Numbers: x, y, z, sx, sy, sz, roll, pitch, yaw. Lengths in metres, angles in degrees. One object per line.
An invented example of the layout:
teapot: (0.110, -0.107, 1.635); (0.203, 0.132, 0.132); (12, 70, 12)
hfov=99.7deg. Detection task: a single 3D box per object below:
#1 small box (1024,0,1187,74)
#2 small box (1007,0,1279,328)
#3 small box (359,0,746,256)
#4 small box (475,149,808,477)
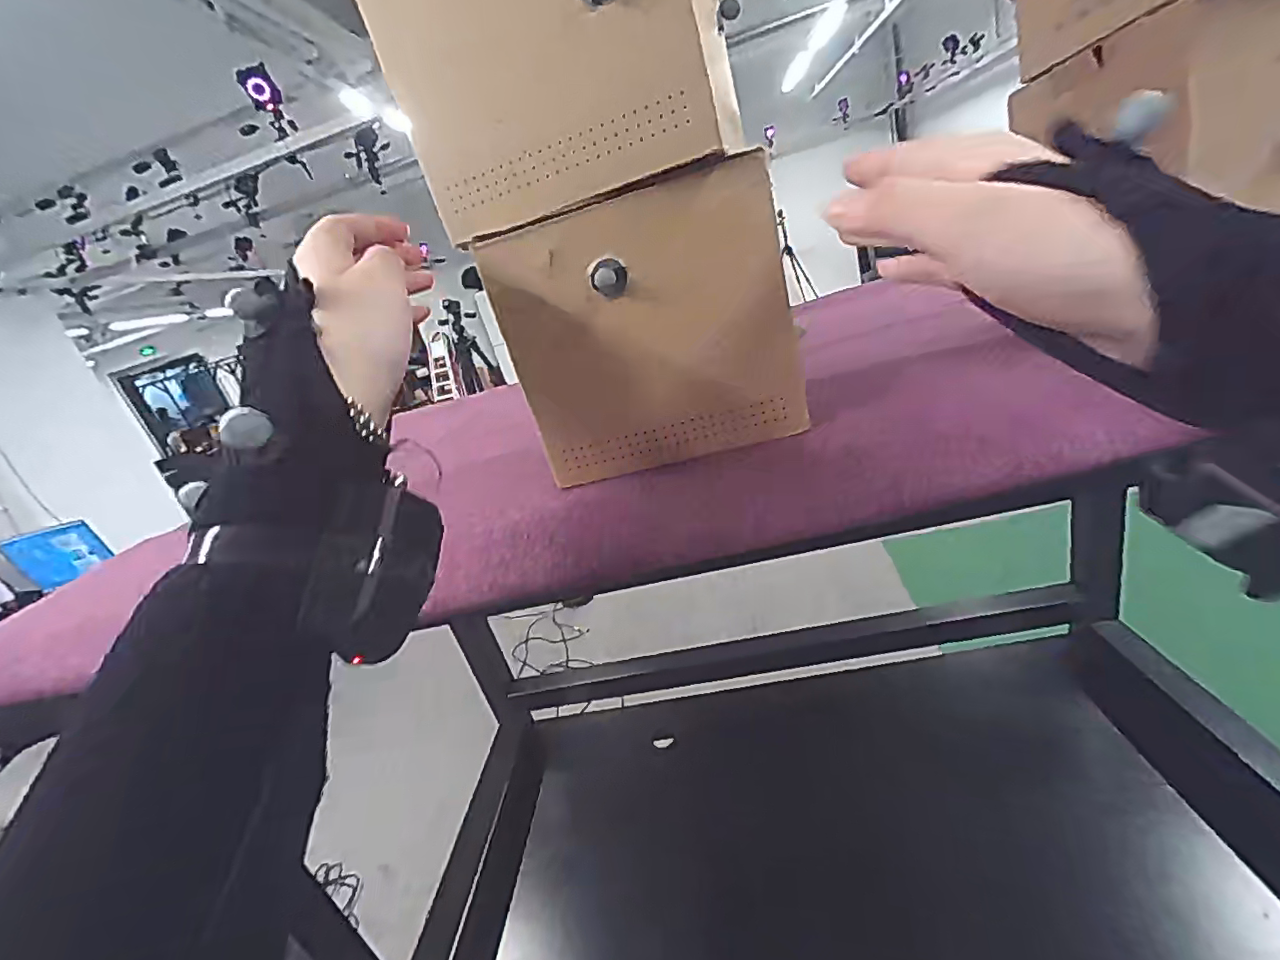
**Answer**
small box: (0.329, -0.349, 0.282); (0.179, 0.176, 0.168); (-14, 19, 11)
small box: (0.377, -0.206, 0.346); (0.179, 0.176, 0.168); (-15, 19, 11)
small box: (-0.036, -0.259, 0.346); (0.179, 0.176, 0.168); (-10, 22, 21)
small box: (0.013, -0.115, 0.404); (0.179, 0.176, 0.168); (-12, 22, 11)
